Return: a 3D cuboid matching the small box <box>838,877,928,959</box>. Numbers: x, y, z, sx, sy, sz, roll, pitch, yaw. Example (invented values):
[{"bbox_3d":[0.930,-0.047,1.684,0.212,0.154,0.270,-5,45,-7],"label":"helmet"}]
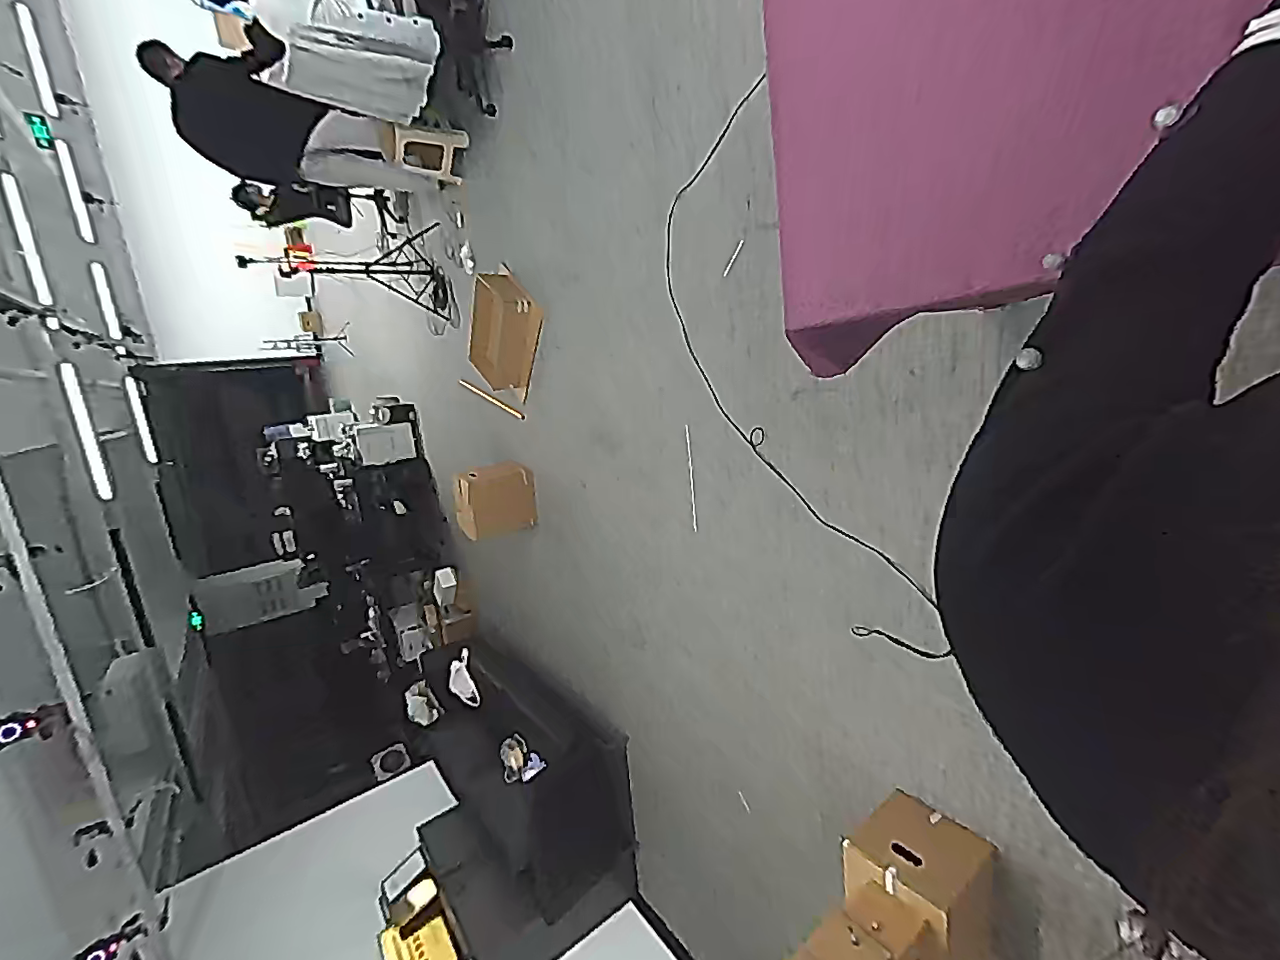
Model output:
[{"bbox_3d":[0.684,1.274,1.524,0.179,0.176,0.168,7,107,52],"label":"small box"}]
